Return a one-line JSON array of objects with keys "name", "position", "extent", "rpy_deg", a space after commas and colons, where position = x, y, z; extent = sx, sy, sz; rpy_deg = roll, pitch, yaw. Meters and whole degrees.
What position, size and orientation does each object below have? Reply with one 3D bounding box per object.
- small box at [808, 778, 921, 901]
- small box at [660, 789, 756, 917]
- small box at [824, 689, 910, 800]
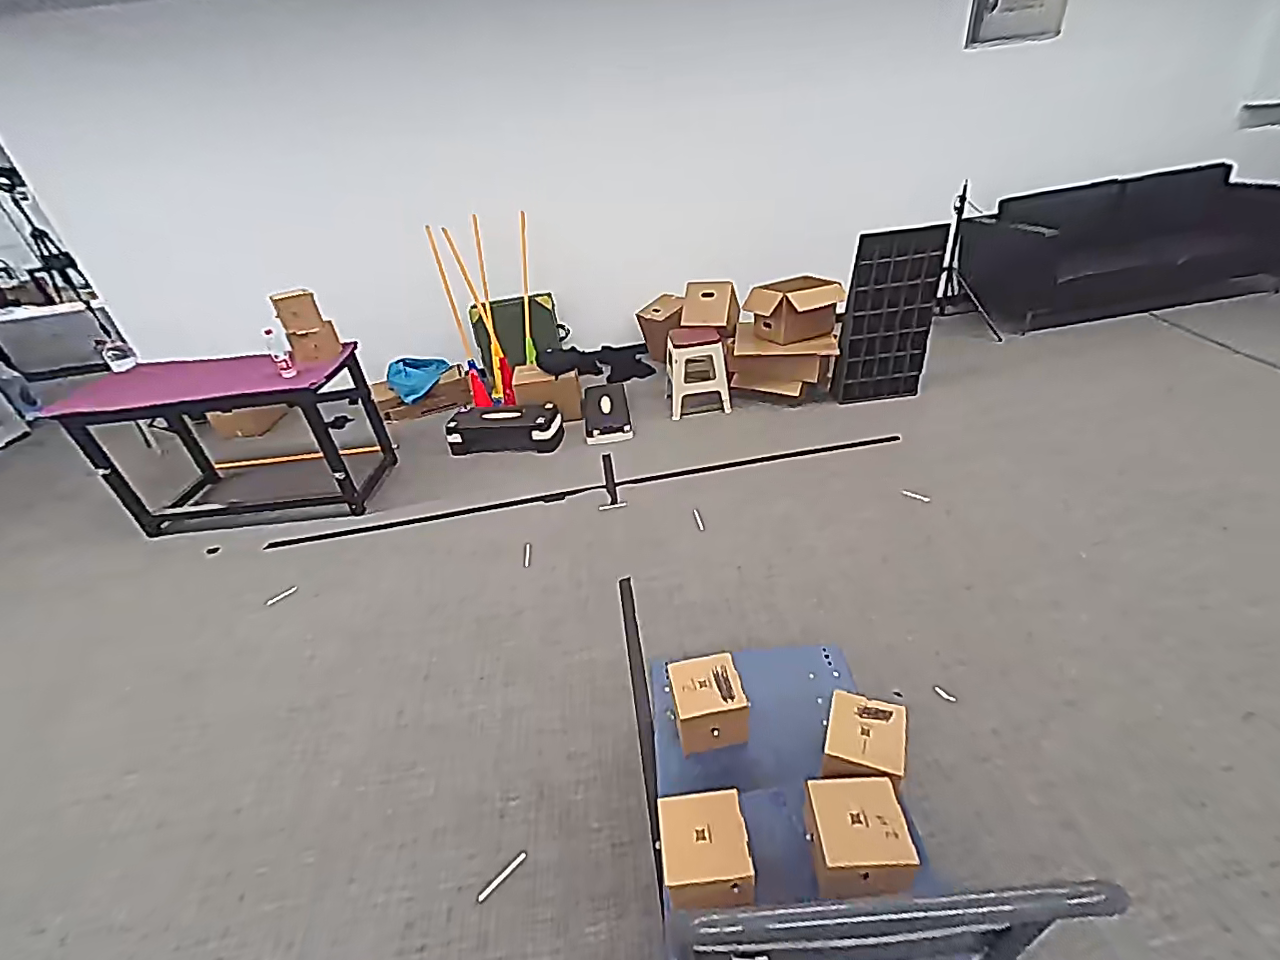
[{"name": "small box", "position": [0.457, 0.751, 1.129], "extent": [0.179, 0.176, 0.168], "rpy_deg": [-5, 33, 5]}, {"name": "small box", "position": [0.142, 0.790, 1.143], "extent": [0.179, 0.176, 0.168], "rpy_deg": [-7, 33, 0]}, {"name": "small box", "position": [0.535, 0.639, 1.283], "extent": [0.168, 0.176, 0.179], "rpy_deg": [8, 37, 23]}]
